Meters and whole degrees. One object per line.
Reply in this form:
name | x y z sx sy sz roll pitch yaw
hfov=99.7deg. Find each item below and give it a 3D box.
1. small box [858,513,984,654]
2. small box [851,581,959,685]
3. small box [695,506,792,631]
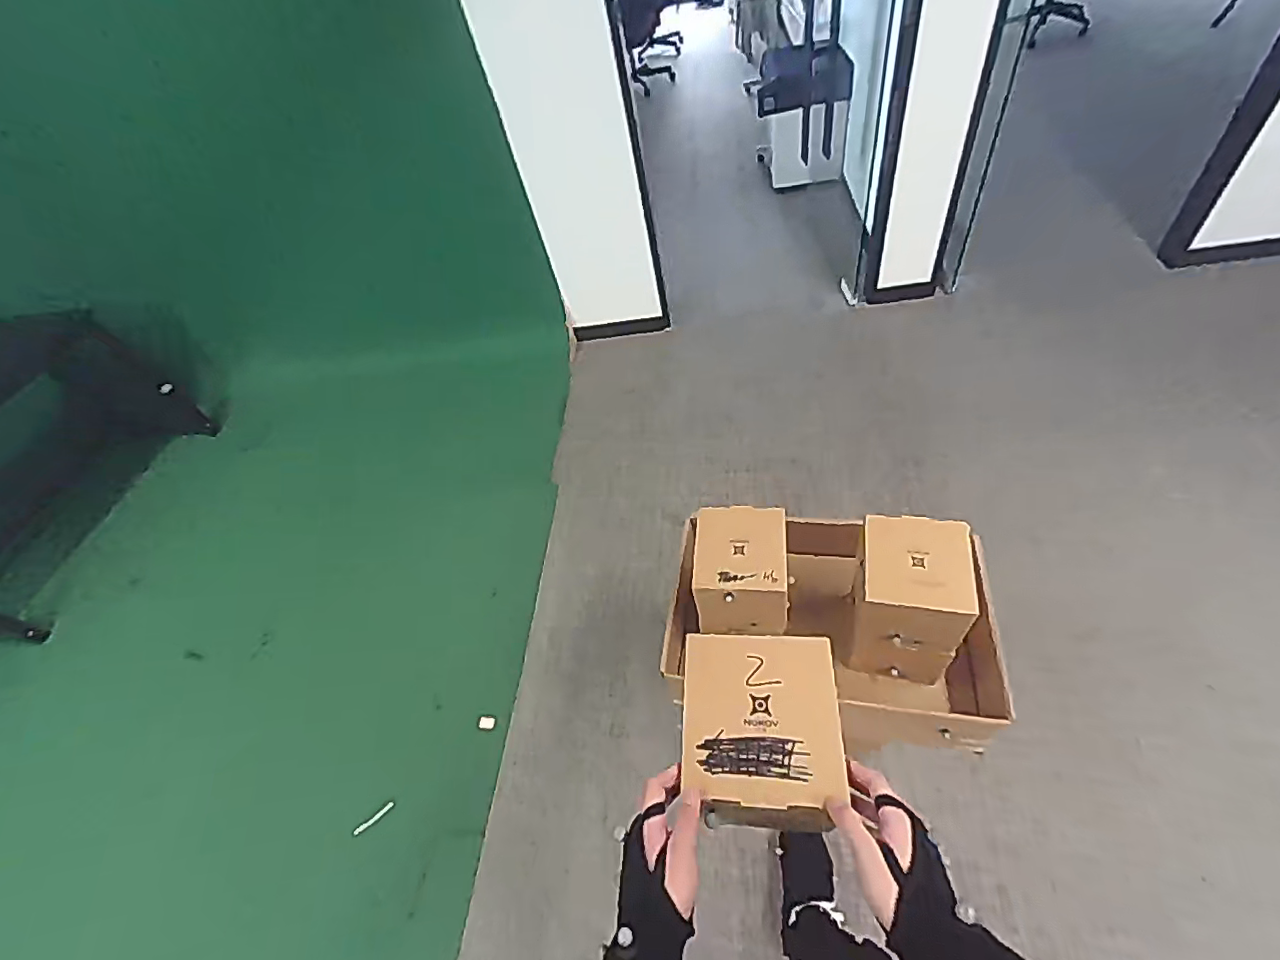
small box | 0.483 0.183 0.955 0.168 0.176 0.179 5 53 18
small box | 0.518 0.283 1.079 0.168 0.176 0.179 5 54 18
small box | 0.202 0.169 1.035 0.168 0.176 0.179 -1 51 14
